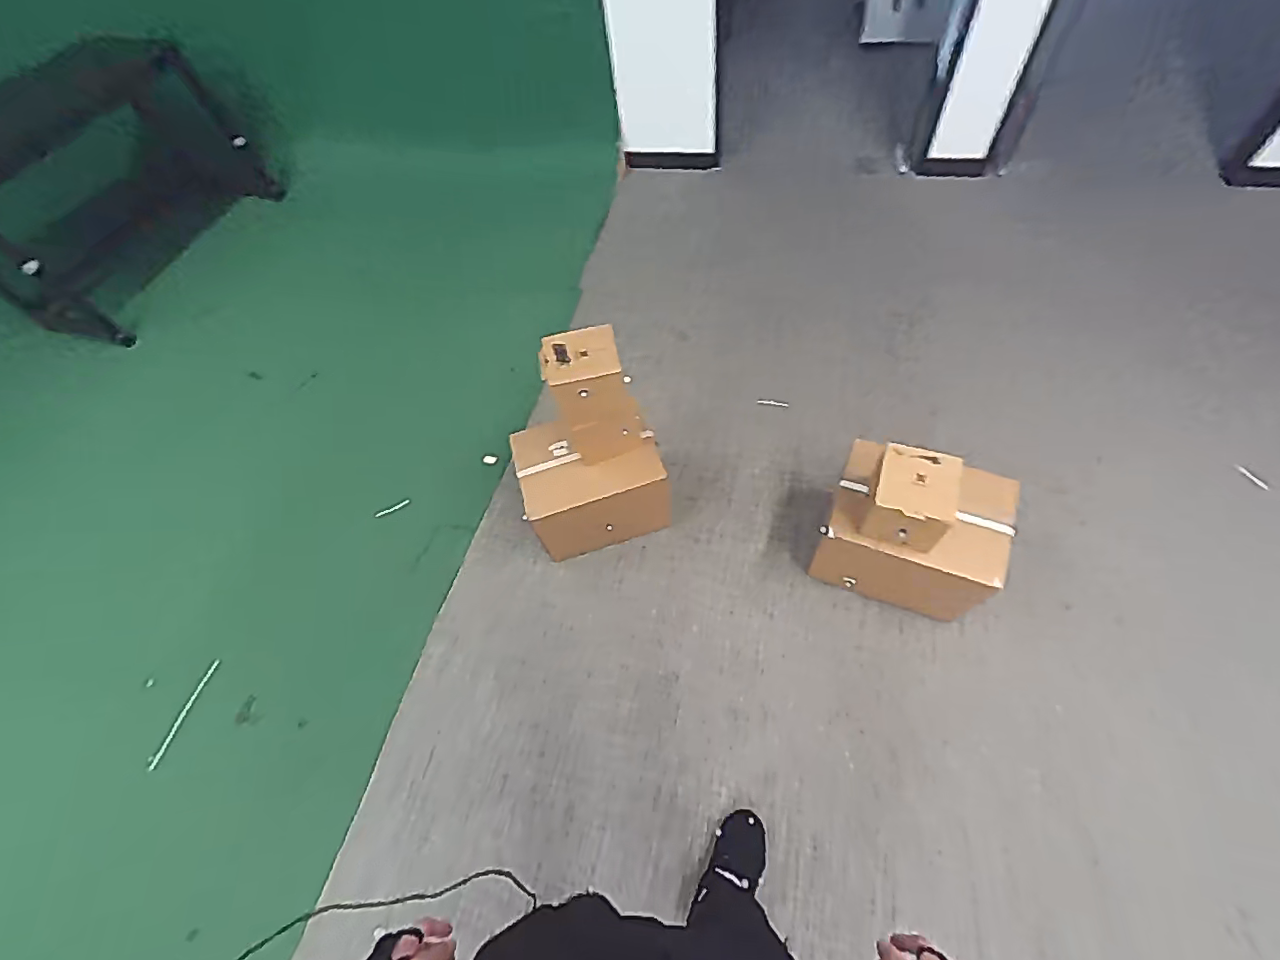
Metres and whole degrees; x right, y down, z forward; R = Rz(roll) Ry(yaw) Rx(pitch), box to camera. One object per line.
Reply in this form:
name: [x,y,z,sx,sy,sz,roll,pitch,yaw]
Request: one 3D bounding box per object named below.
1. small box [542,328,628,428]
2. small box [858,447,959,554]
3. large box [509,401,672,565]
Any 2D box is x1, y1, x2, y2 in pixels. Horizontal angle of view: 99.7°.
small box: [-0.135,-0.251,1.360,0.179,0.176,0.168,-12,59,0]
small box: [0.626,0.053,1.277,0.168,0.176,0.179,16,64,15]
large box: [-0.144,0.019,1.681,0.408,0.320,0.320,-18,58,-3]
